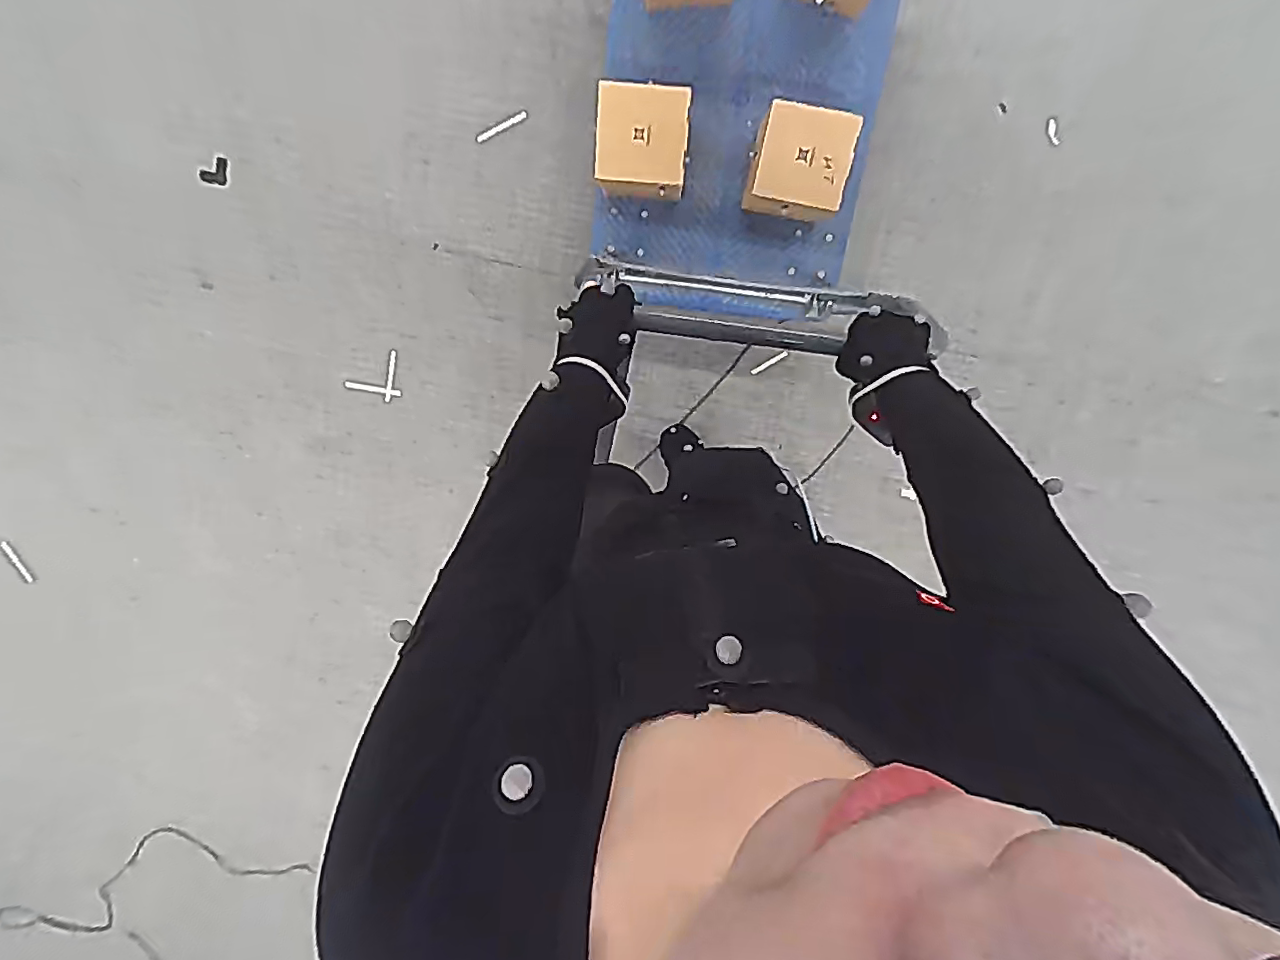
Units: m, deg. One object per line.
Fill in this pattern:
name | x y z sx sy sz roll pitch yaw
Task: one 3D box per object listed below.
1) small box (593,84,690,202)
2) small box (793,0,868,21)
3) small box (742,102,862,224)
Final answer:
small box | 0.003 -0.678 1.106 0.179 0.176 0.168 4 108 -1
small box | 0.379 -1.003 0.987 0.168 0.176 0.179 17 108 -3
small box | 0.318 -0.636 1.106 0.179 0.176 0.168 11 108 -1
